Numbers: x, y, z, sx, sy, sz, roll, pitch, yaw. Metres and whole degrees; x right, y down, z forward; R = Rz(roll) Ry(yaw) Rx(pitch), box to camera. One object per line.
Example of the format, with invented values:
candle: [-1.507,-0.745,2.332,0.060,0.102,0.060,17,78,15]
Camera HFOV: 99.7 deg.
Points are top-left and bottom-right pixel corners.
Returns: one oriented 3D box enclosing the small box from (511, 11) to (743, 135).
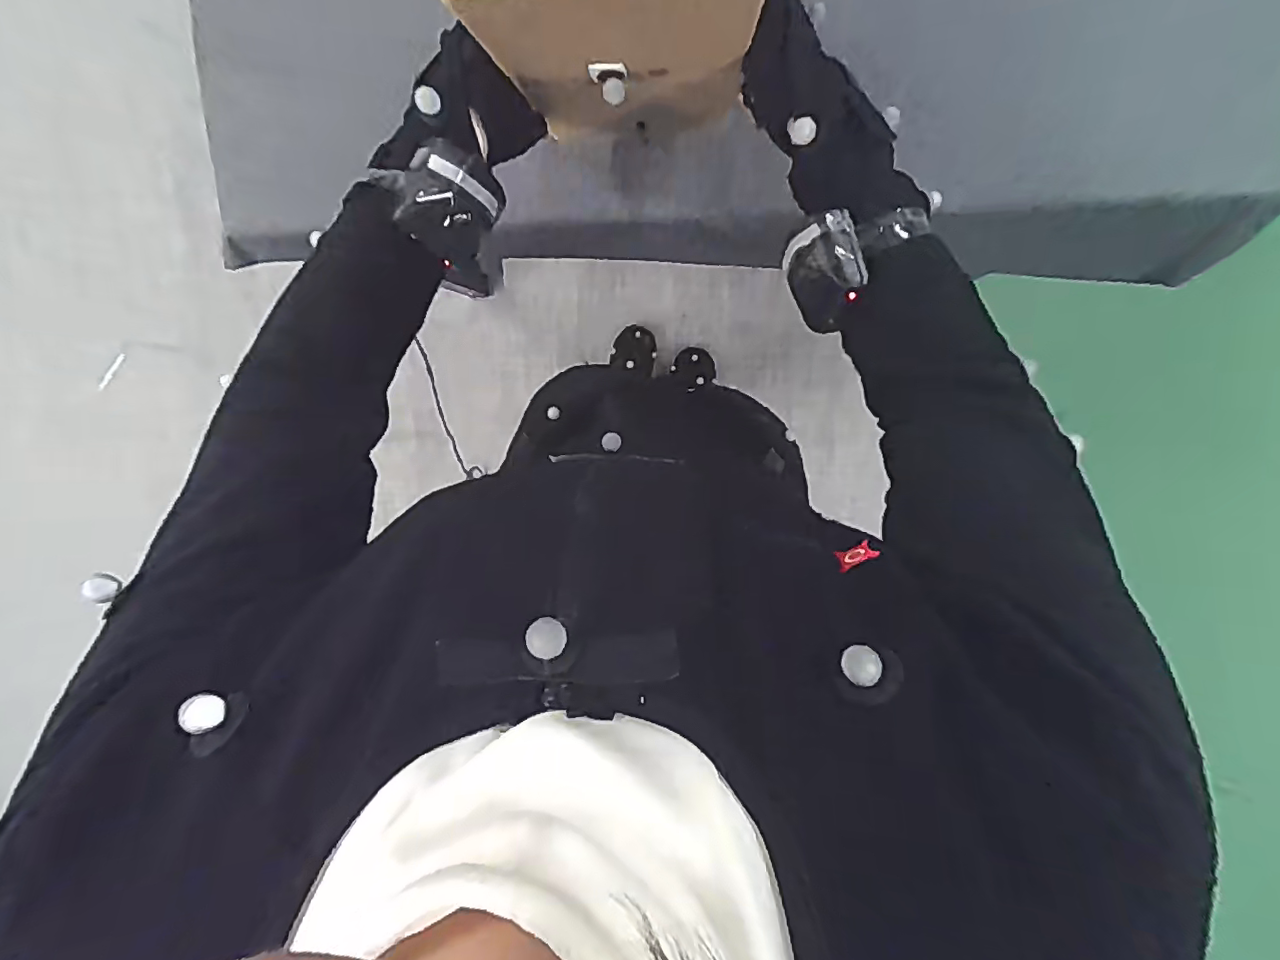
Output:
small box: [-0.011,-0.407,0.454,0.179,0.176,0.168,-2,110,4]

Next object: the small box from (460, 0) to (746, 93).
small box: [-0.024,-0.350,0.302,0.168,0.176,0.179,-1,111,5]
